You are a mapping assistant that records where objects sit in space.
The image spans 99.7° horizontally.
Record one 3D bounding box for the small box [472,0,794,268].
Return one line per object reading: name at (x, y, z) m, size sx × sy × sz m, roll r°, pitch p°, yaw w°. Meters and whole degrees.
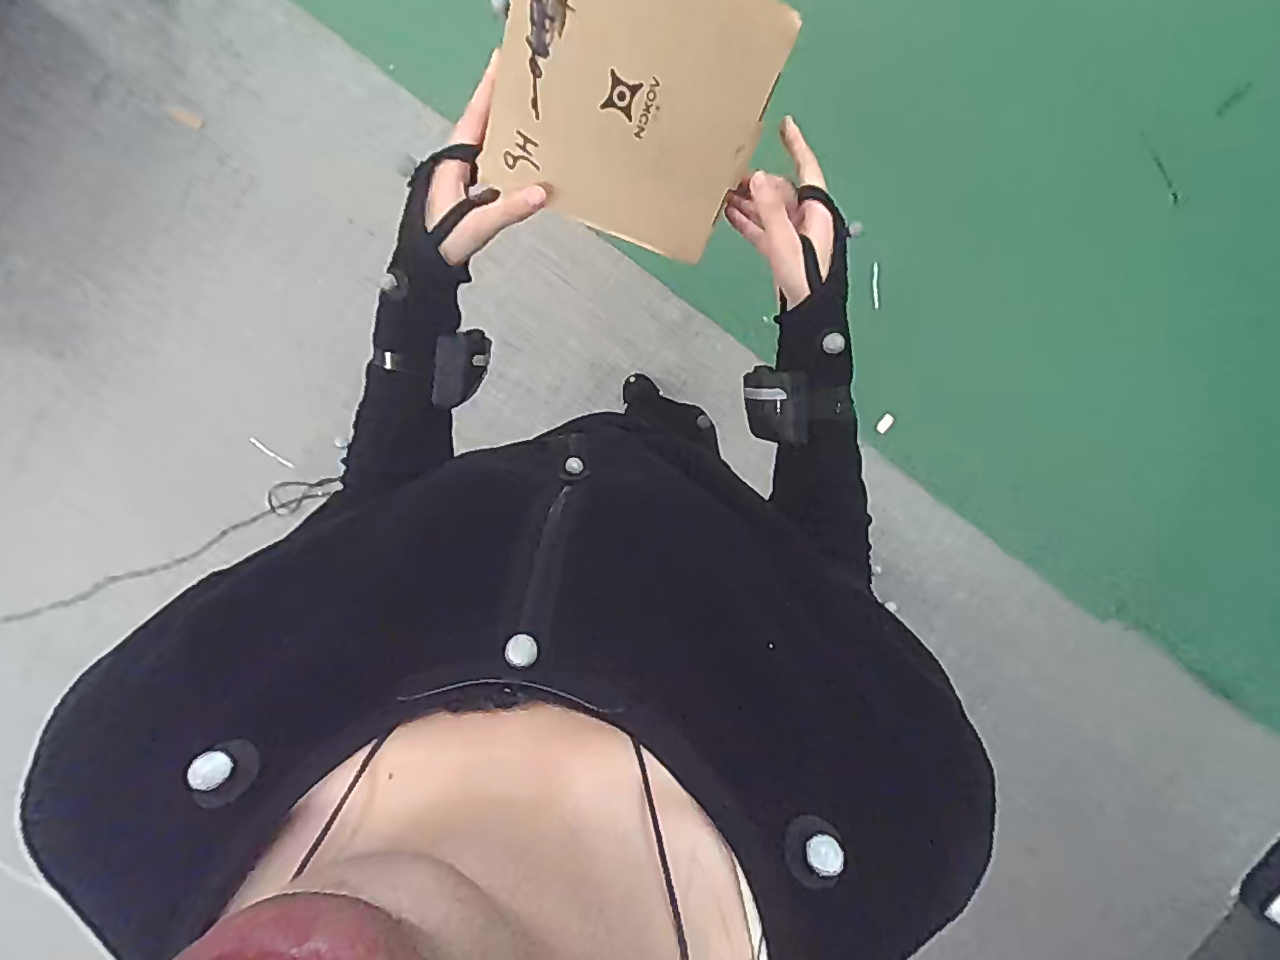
small box at (-0.018, -0.296, 0.423) m, size 0.179 × 0.176 × 0.168 m, roll 13°, pitch 124°, yaw -17°
